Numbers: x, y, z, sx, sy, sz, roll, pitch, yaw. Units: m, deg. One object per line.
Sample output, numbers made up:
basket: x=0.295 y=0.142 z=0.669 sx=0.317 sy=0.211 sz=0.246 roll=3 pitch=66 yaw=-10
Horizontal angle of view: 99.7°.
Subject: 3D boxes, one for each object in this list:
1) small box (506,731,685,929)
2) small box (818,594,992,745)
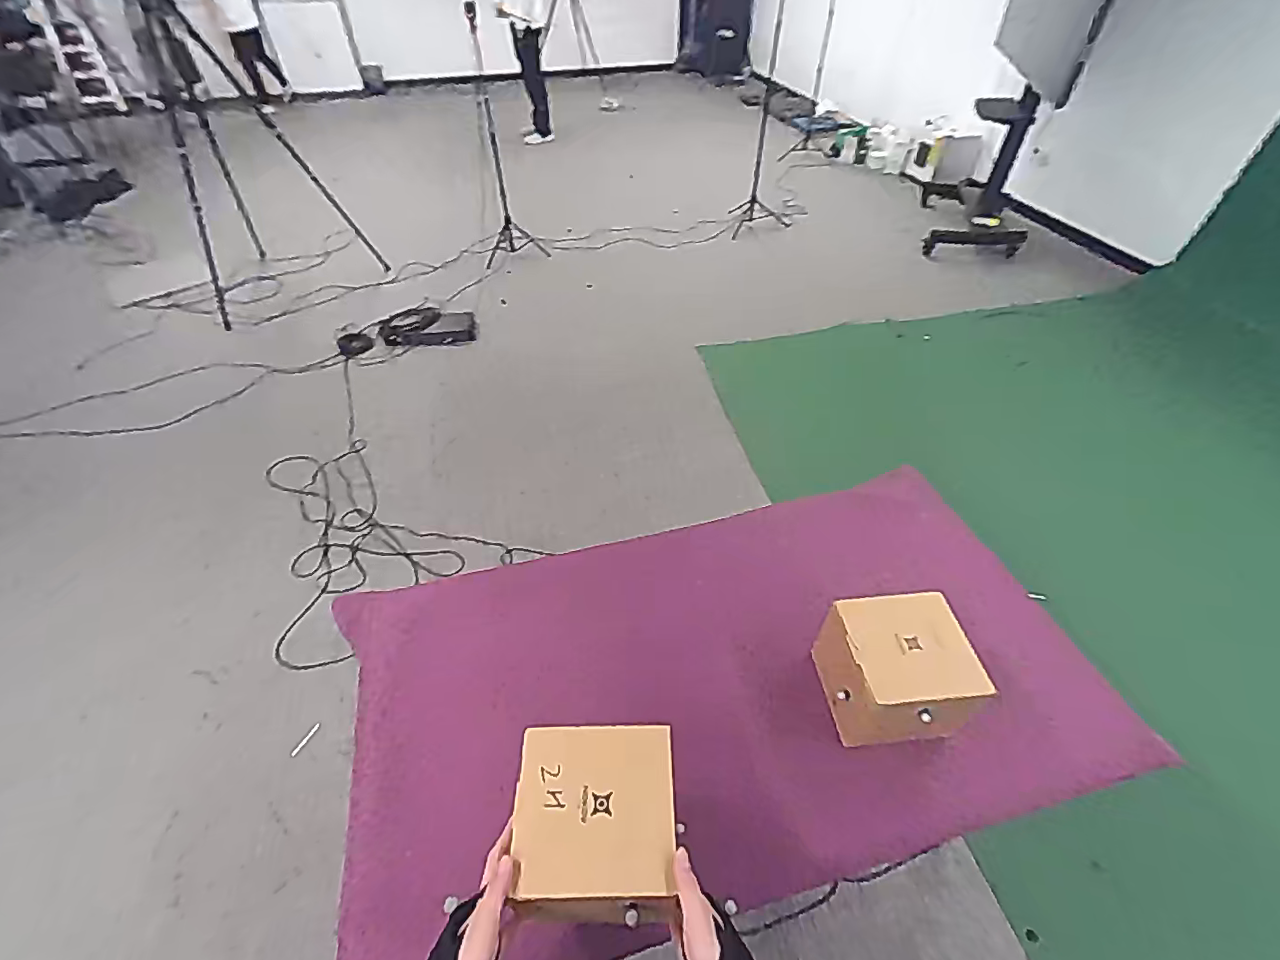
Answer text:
small box: x=-0.043 y=0.411 z=0.636 sx=0.179 sy=0.176 sz=0.168 roll=-1 pitch=44 yaw=0
small box: x=0.393 y=0.299 z=0.846 sx=0.179 sy=0.176 sz=0.168 roll=-3 pitch=46 yaw=-3
